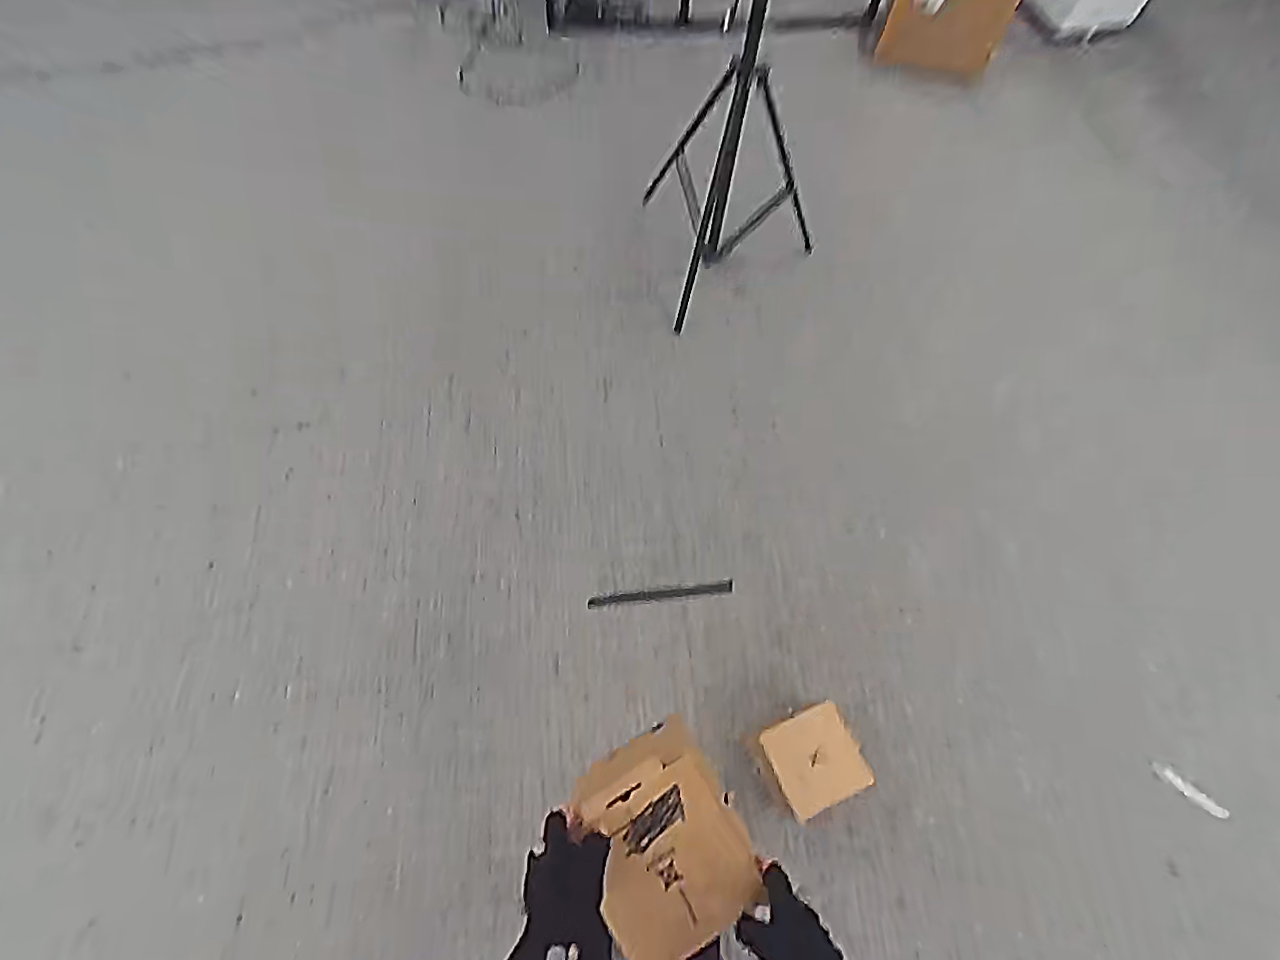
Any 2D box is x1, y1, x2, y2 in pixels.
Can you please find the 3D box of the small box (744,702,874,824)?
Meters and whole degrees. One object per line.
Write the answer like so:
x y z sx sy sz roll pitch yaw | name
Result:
0.341 0.581 1.131 0.179 0.176 0.168 -22 67 -11 | small box

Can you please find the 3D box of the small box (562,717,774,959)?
0.027 0.411 0.649 0.168 0.176 0.179 -32 83 -5 | small box
